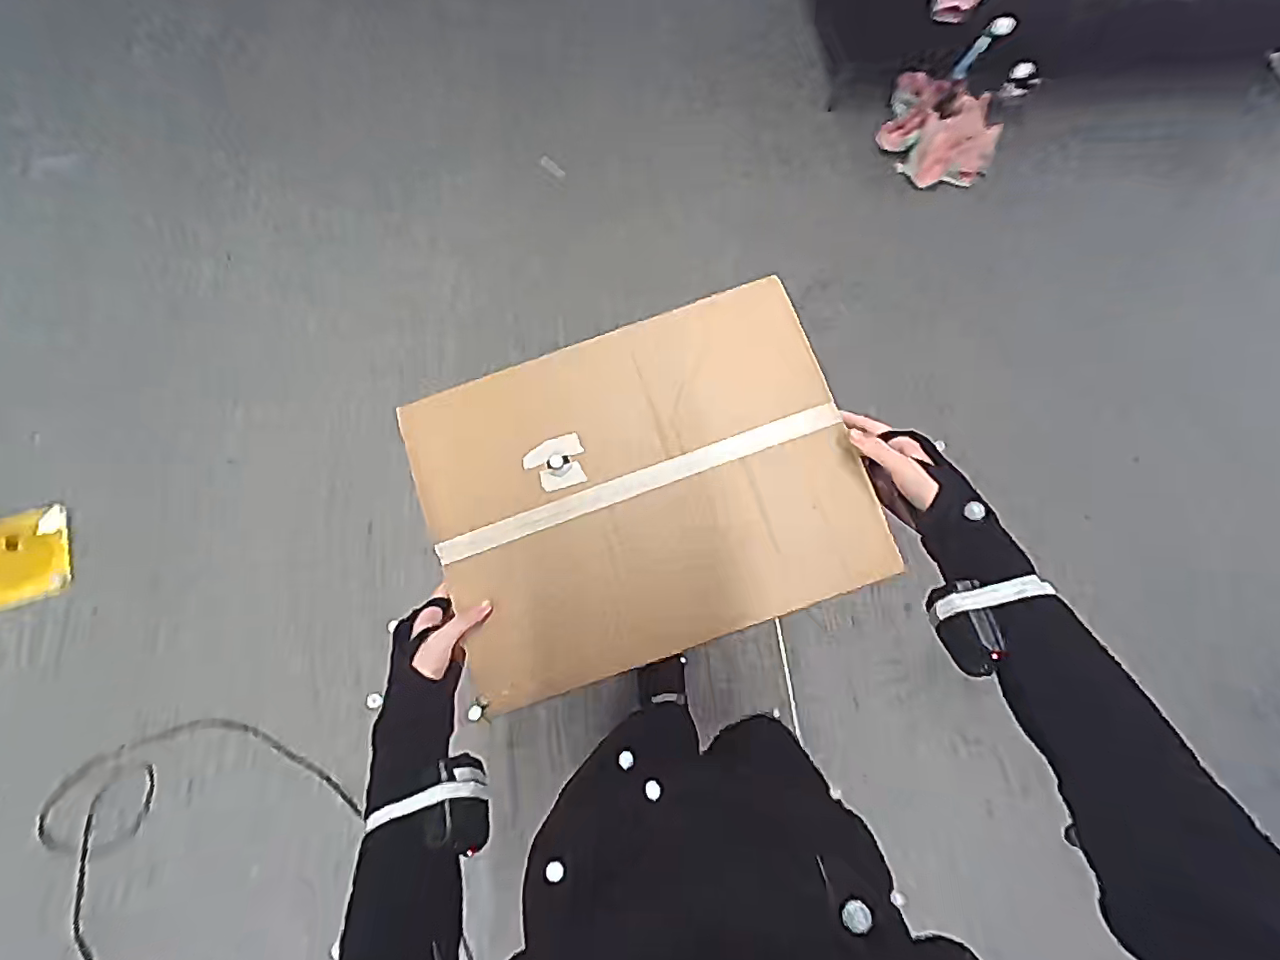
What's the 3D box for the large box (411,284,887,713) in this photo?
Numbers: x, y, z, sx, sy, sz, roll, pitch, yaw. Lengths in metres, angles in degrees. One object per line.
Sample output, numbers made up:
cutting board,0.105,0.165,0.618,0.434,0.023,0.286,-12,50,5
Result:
large box,0.010,0.029,0.681,0.408,0.320,0.320,-21,80,1
